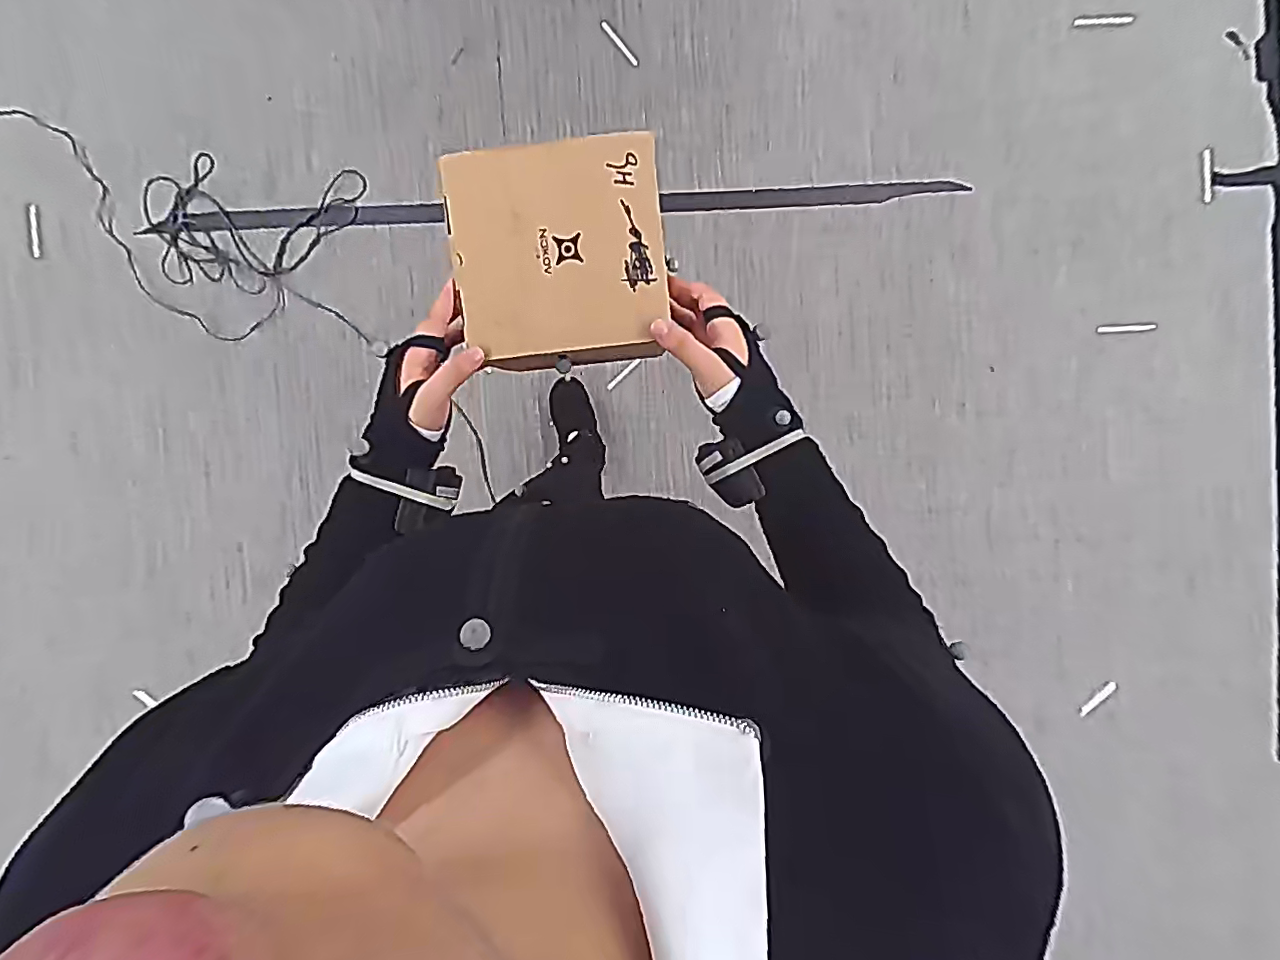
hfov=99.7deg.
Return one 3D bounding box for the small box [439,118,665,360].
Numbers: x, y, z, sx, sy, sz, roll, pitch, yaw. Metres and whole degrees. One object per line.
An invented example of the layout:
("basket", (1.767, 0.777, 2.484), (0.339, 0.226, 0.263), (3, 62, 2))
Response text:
("small box", (-0.070, -0.213, 0.526), (0.179, 0.176, 0.168), (-6, 98, 1))
